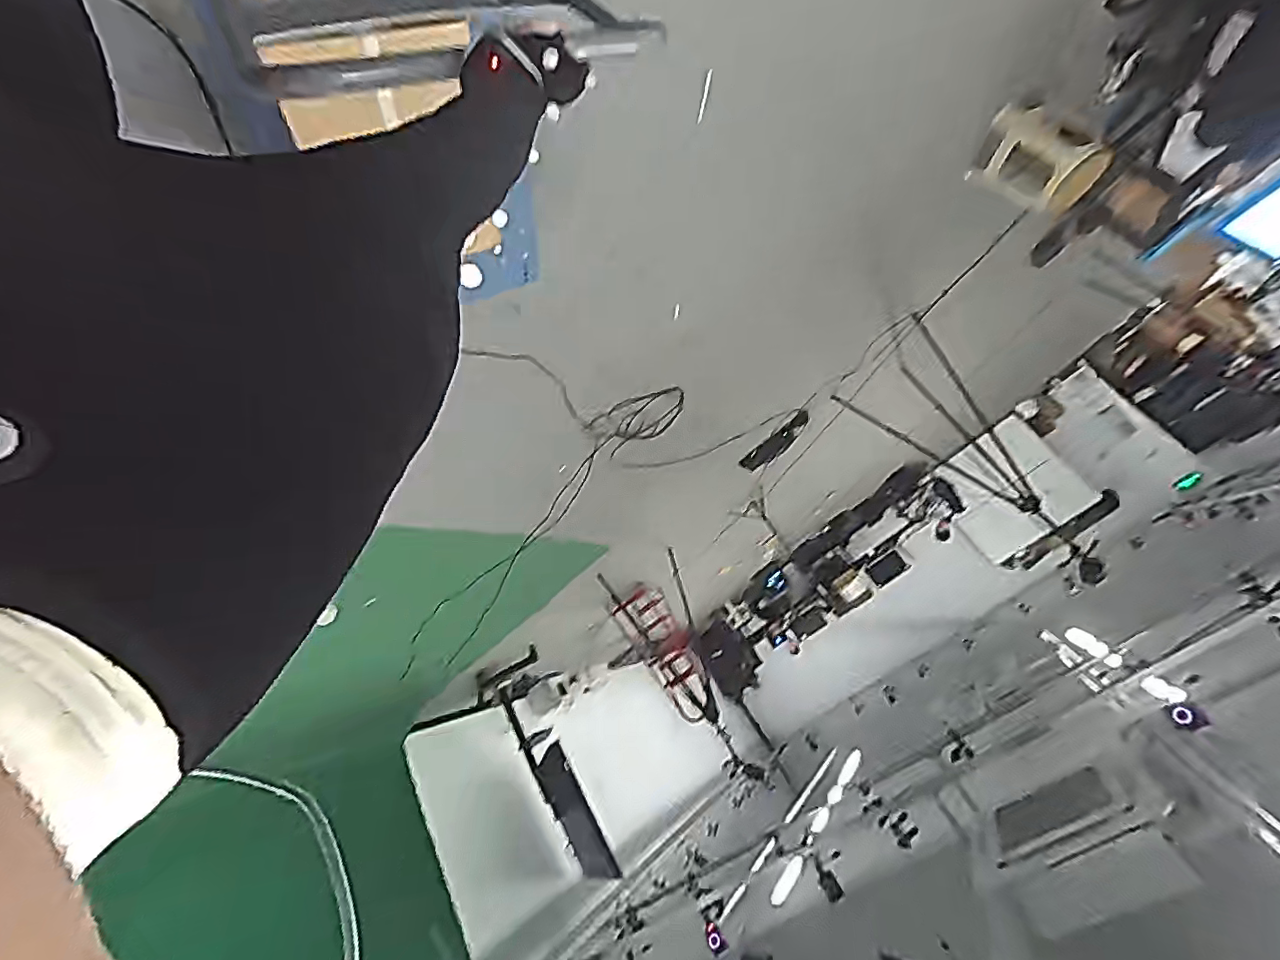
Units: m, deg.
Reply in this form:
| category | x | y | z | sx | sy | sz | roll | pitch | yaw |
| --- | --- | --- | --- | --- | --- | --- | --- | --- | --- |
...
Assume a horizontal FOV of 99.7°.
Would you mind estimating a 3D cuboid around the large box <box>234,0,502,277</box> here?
| category | x | y | z | sx | sy | sz | roll | pitch | yaw |
| --- | --- | --- | --- | --- | --- | --- | --- | --- | --- |
| large box | -0.497 | -0.688 | 1.043 | 0.320 | 0.320 | 0.408 | -24 | 155 | -19 |
